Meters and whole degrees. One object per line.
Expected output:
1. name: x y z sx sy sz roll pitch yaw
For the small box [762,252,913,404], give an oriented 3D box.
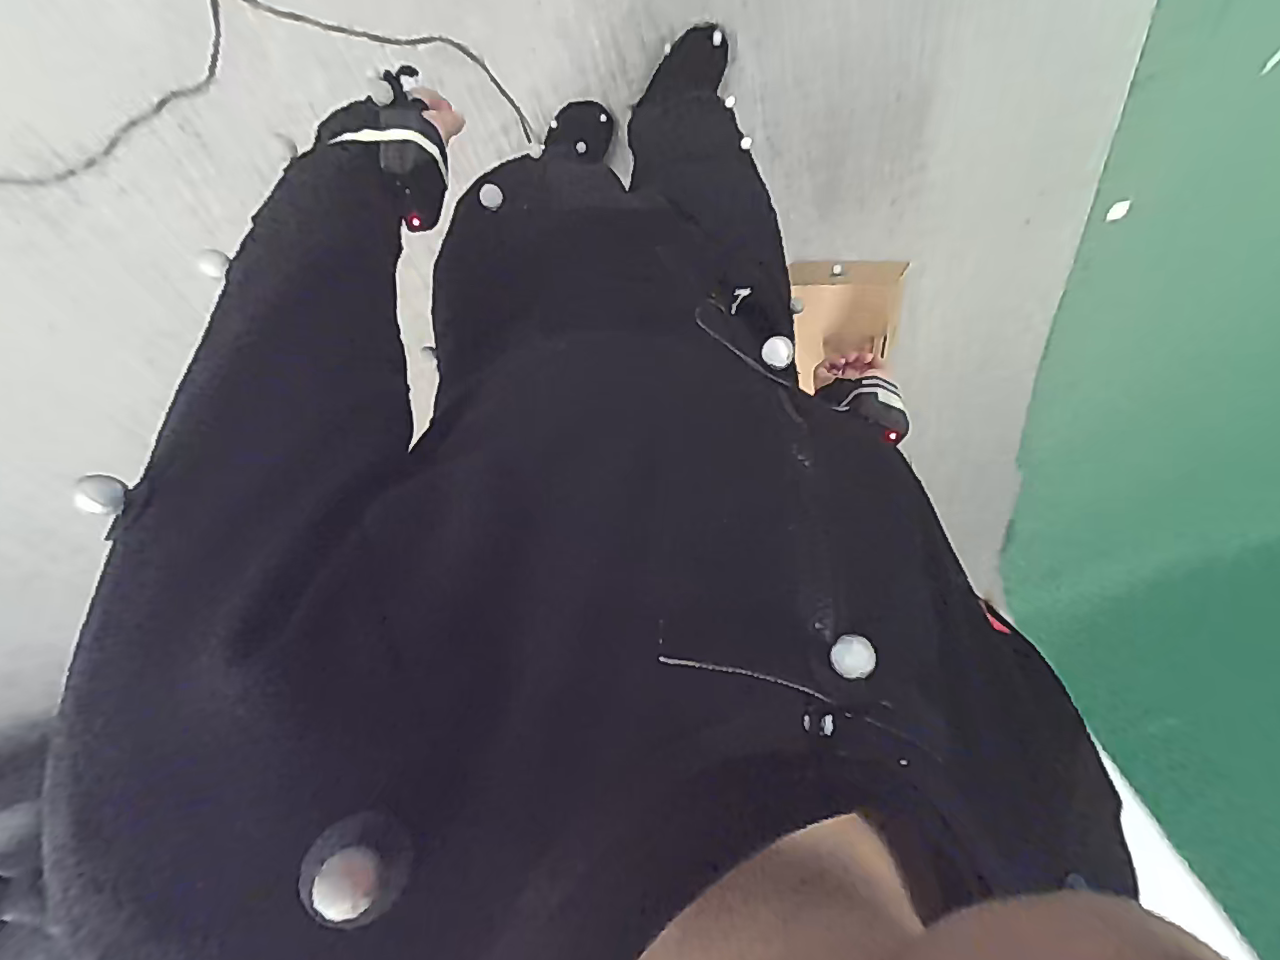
1. small box: 0.275 -0.216 0.759 0.176 0.179 0.168 9 123 27
